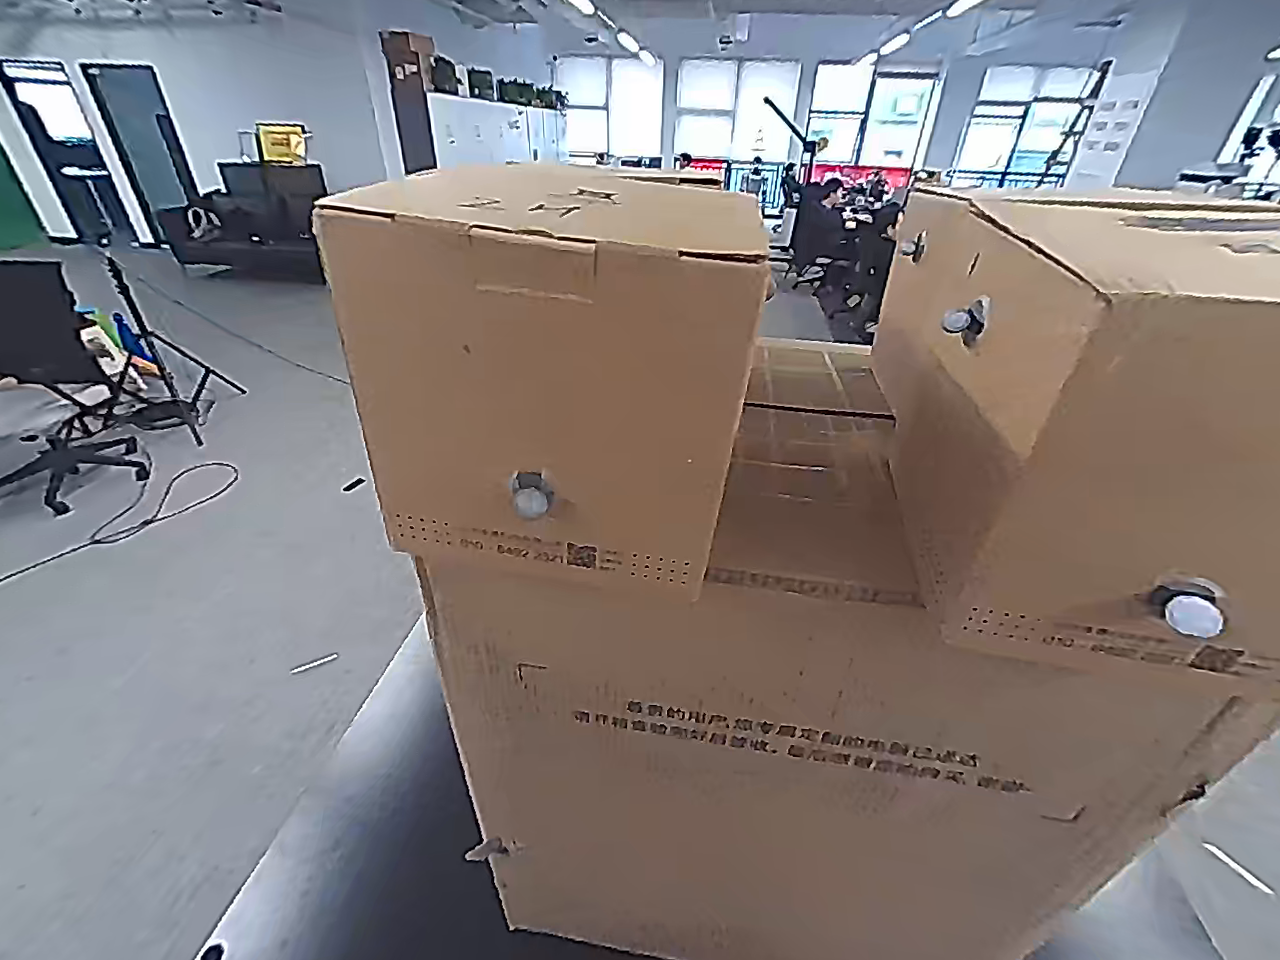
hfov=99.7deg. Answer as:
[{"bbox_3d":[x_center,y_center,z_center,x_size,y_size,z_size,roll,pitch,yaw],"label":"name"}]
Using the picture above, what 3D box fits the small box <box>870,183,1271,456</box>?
[{"bbox_3d":[0.294,-0.137,0.430,0.168,0.176,0.179,5,31,10],"label":"small box"}]
